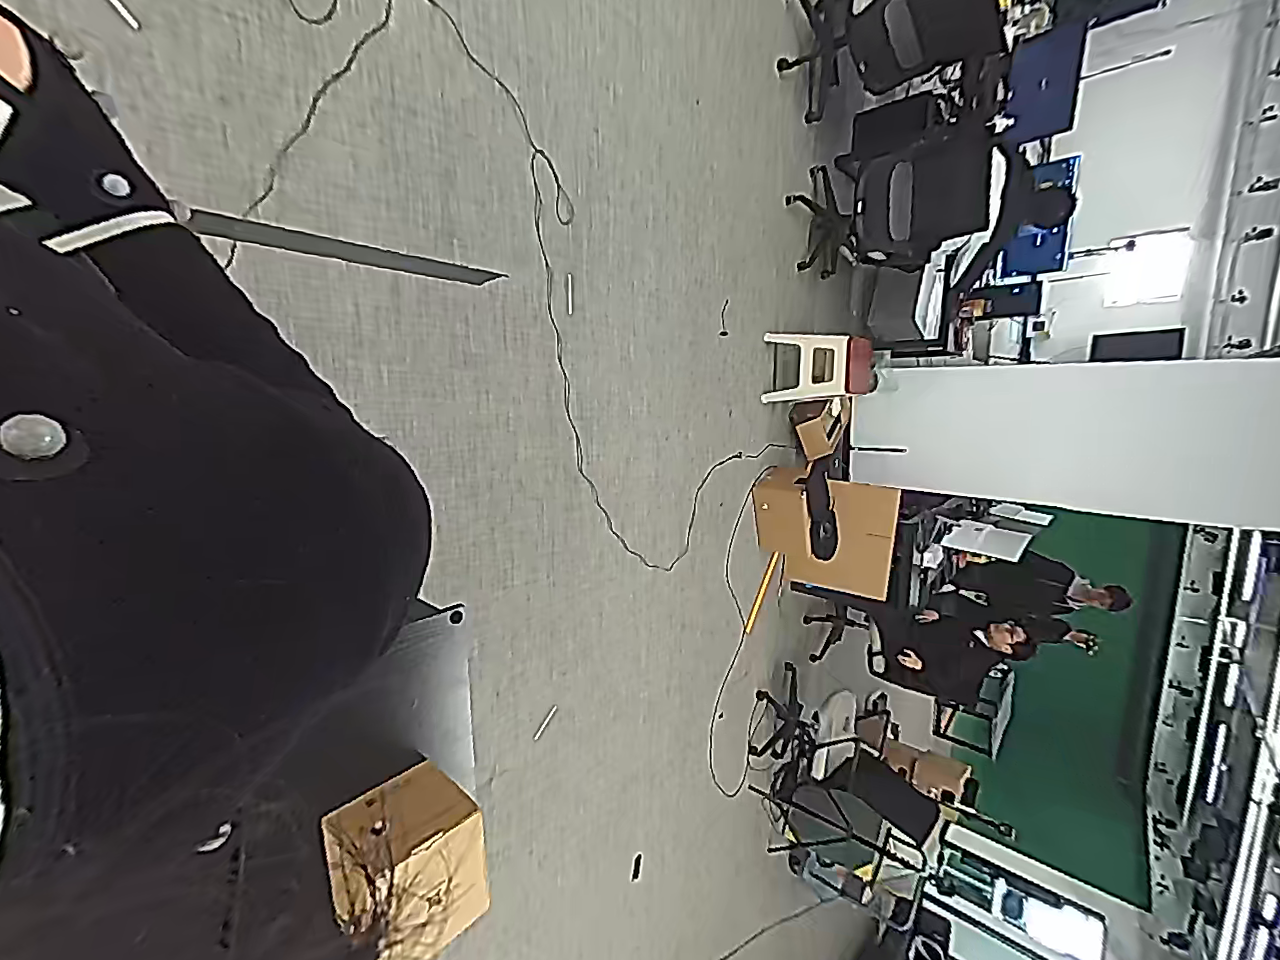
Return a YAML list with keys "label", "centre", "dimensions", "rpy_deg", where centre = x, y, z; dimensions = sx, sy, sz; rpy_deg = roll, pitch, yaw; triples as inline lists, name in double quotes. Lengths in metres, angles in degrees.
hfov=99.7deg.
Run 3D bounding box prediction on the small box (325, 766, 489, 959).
- label: "small box"
  centre: [-0.348, 0.564, 0.807]
  dimensions: [0.168, 0.176, 0.179]
  rpy_deg: [-13, 106, -46]
